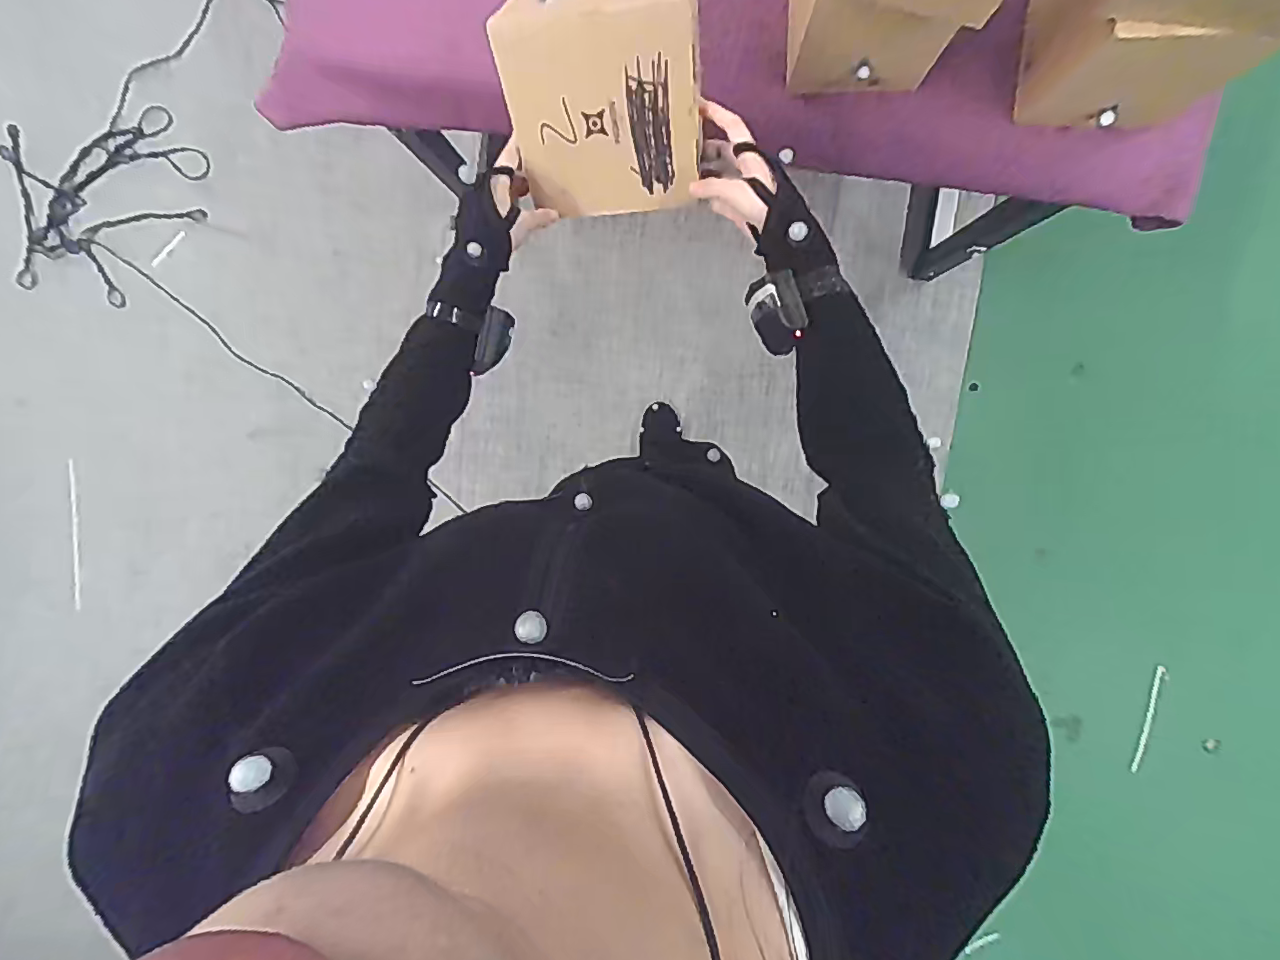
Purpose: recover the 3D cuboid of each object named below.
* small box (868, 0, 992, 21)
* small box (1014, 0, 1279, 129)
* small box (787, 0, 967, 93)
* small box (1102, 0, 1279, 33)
[{"bbox_3d":[0.267,-0.531,0.442,0.179,0.176,0.168,16,97,3],"label":"small box"},{"bbox_3d":[0.557,-0.512,0.588,0.179,0.176,0.168,4,97,4],"label":"small box"},{"bbox_3d":[0.265,-0.575,0.603,0.168,0.176,0.179,2,97,4],"label":"small box"},{"bbox_3d":[0.533,-0.501,0.426,0.179,0.176,0.168,10,97,4],"label":"small box"}]
